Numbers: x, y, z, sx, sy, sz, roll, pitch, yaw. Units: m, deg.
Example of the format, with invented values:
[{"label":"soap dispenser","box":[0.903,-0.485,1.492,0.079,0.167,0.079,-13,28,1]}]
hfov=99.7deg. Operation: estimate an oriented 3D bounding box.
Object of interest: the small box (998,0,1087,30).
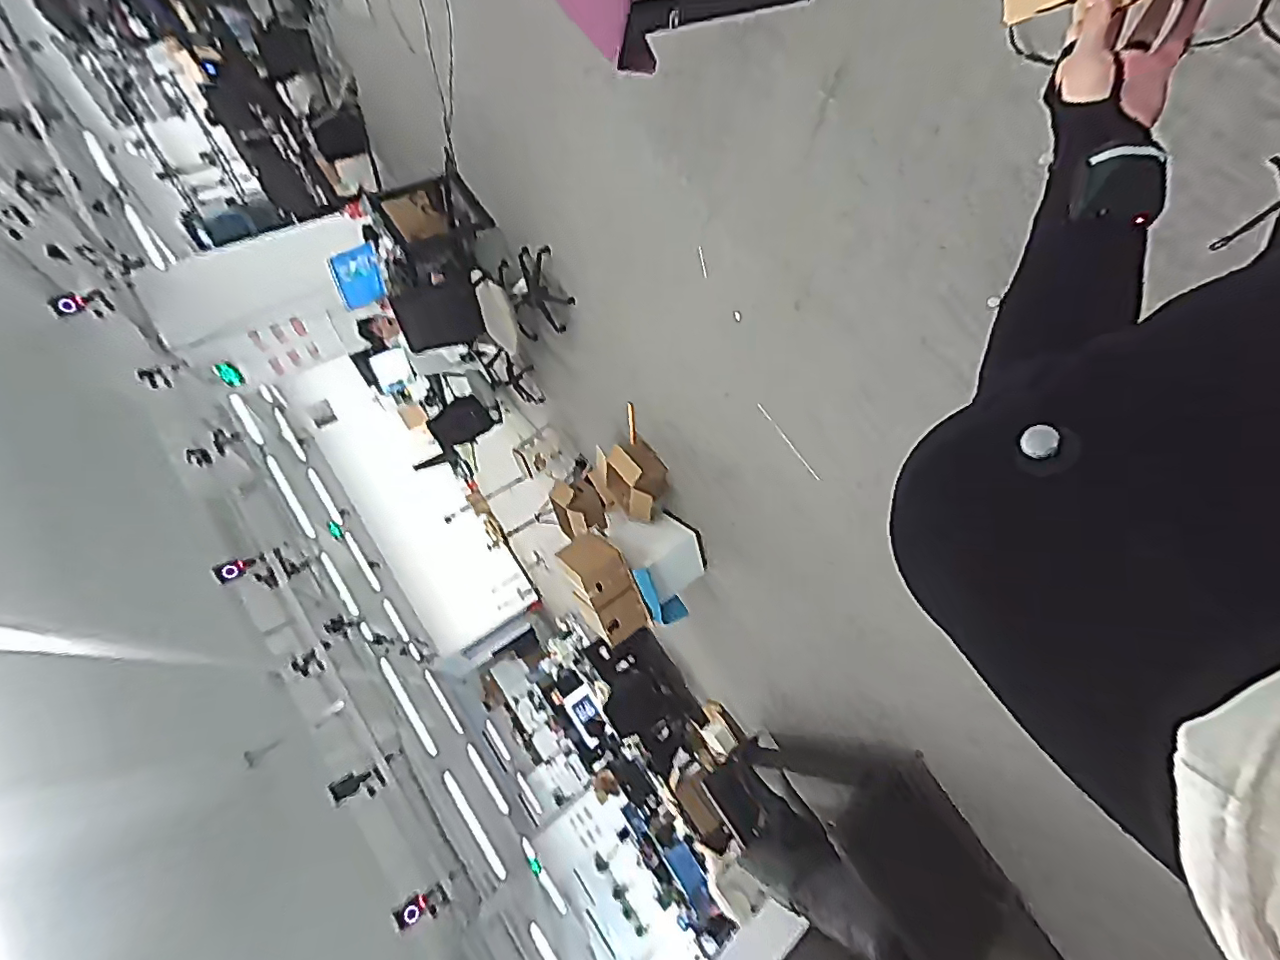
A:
[{"label":"small box","box":[0.431,-0.524,0.442,0.168,0.176,0.179,45,159,60]}]
